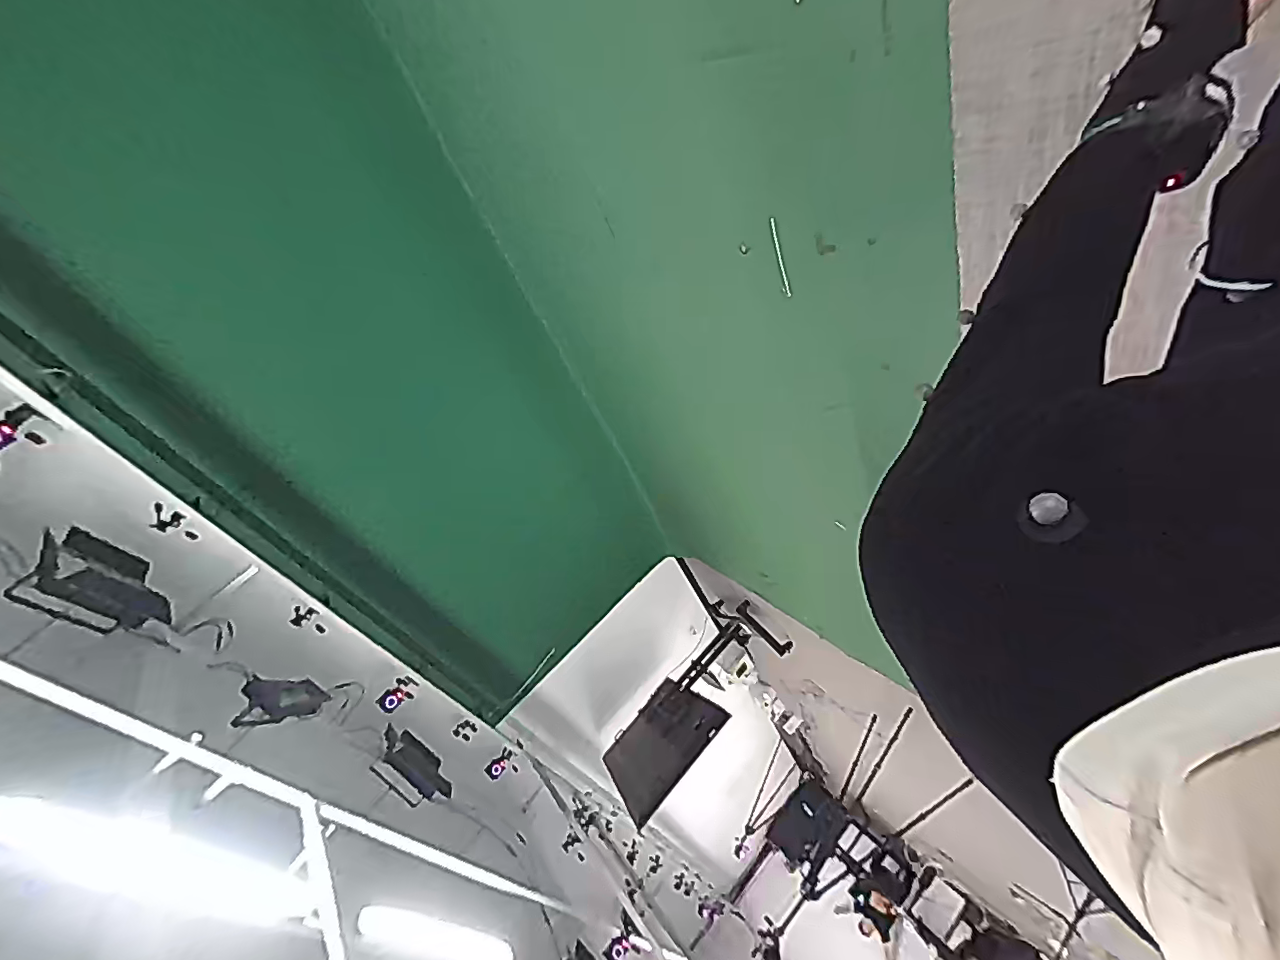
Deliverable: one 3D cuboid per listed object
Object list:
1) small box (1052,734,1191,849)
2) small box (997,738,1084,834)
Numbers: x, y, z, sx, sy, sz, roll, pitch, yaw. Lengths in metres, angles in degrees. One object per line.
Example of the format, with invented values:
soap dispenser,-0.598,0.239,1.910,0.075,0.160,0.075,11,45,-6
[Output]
small box,1.171,0.745,1.314,0.168,0.176,0.179,42,162,16
small box,1.184,0.867,1.573,0.179,0.176,0.168,54,161,-23
